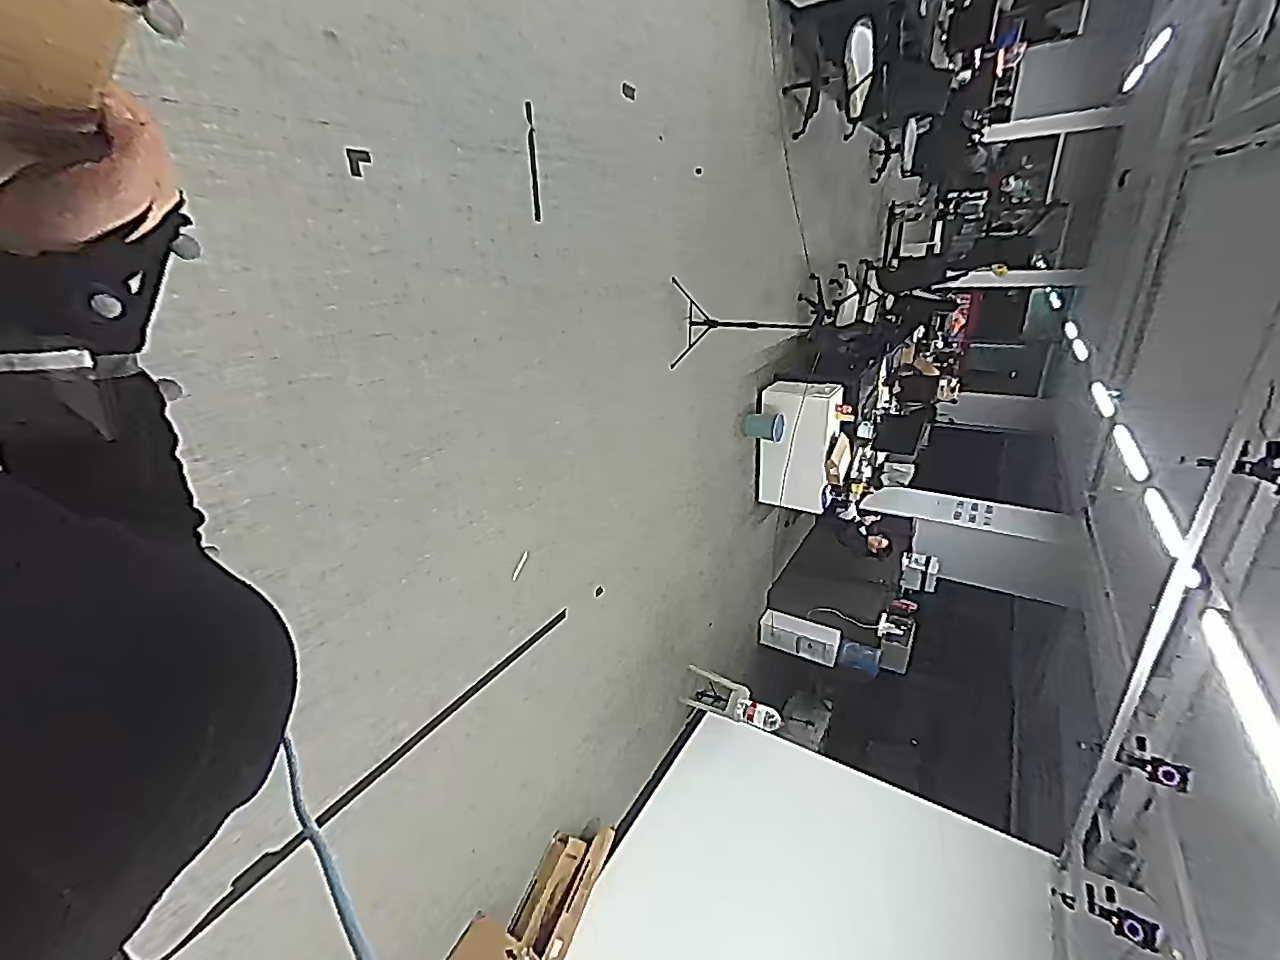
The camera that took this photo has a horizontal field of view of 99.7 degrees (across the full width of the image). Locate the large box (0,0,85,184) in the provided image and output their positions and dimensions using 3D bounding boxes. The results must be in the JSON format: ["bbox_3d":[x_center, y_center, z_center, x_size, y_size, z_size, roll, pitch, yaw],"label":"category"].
[{"bbox_3d":[-0.450,-0.307,0.112,0.408,0.320,0.320,-19,108,-48],"label":"large box"}]
